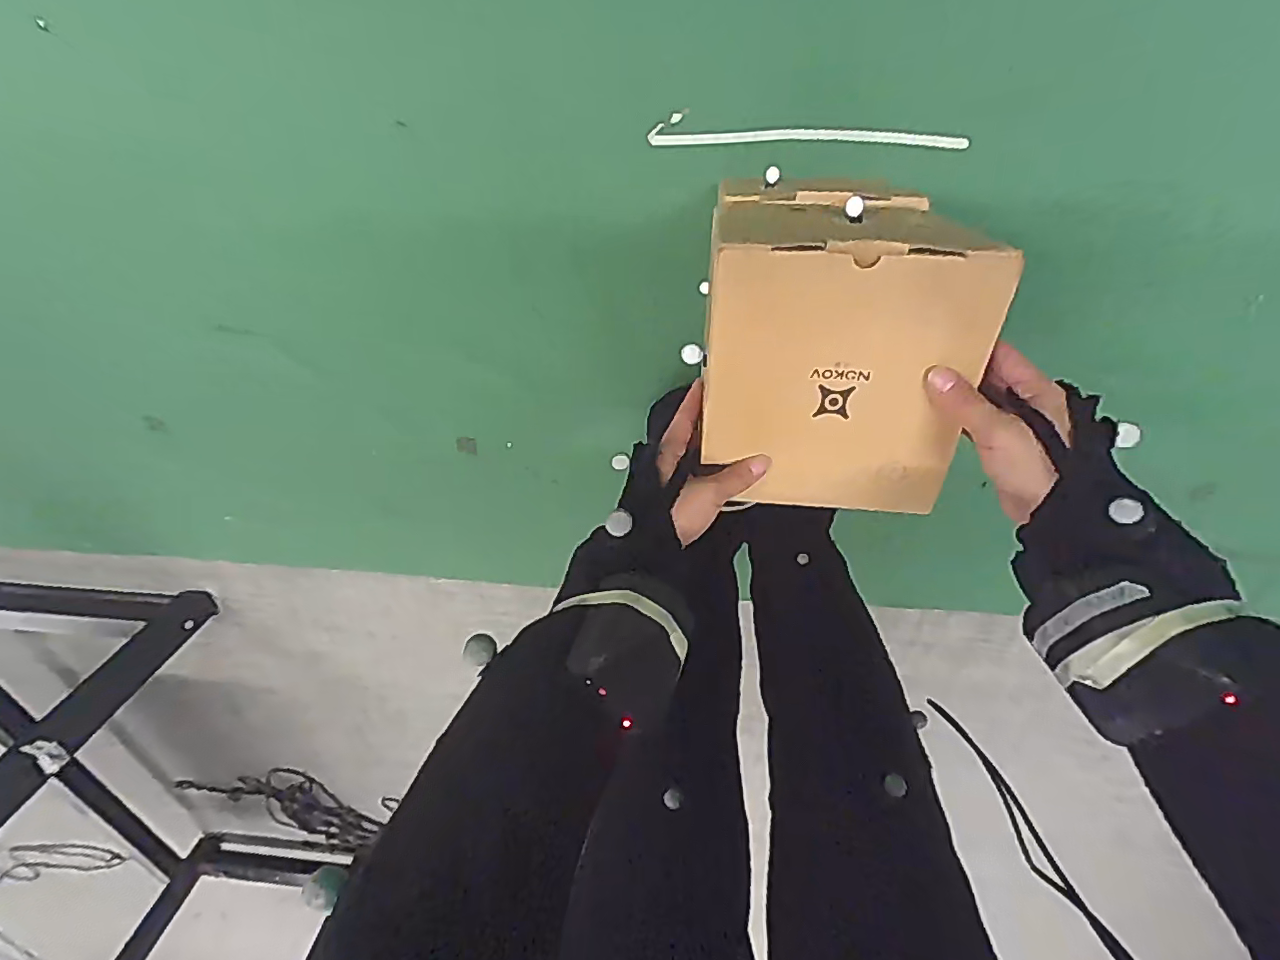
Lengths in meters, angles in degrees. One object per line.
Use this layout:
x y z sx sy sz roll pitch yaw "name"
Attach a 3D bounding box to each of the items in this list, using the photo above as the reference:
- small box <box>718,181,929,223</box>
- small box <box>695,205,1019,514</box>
0.159 -0.198 0.548 0.168 0.176 0.179 3 124 6 "small box"
0.133 -0.098 0.409 0.168 0.176 0.179 4 123 5 "small box"
